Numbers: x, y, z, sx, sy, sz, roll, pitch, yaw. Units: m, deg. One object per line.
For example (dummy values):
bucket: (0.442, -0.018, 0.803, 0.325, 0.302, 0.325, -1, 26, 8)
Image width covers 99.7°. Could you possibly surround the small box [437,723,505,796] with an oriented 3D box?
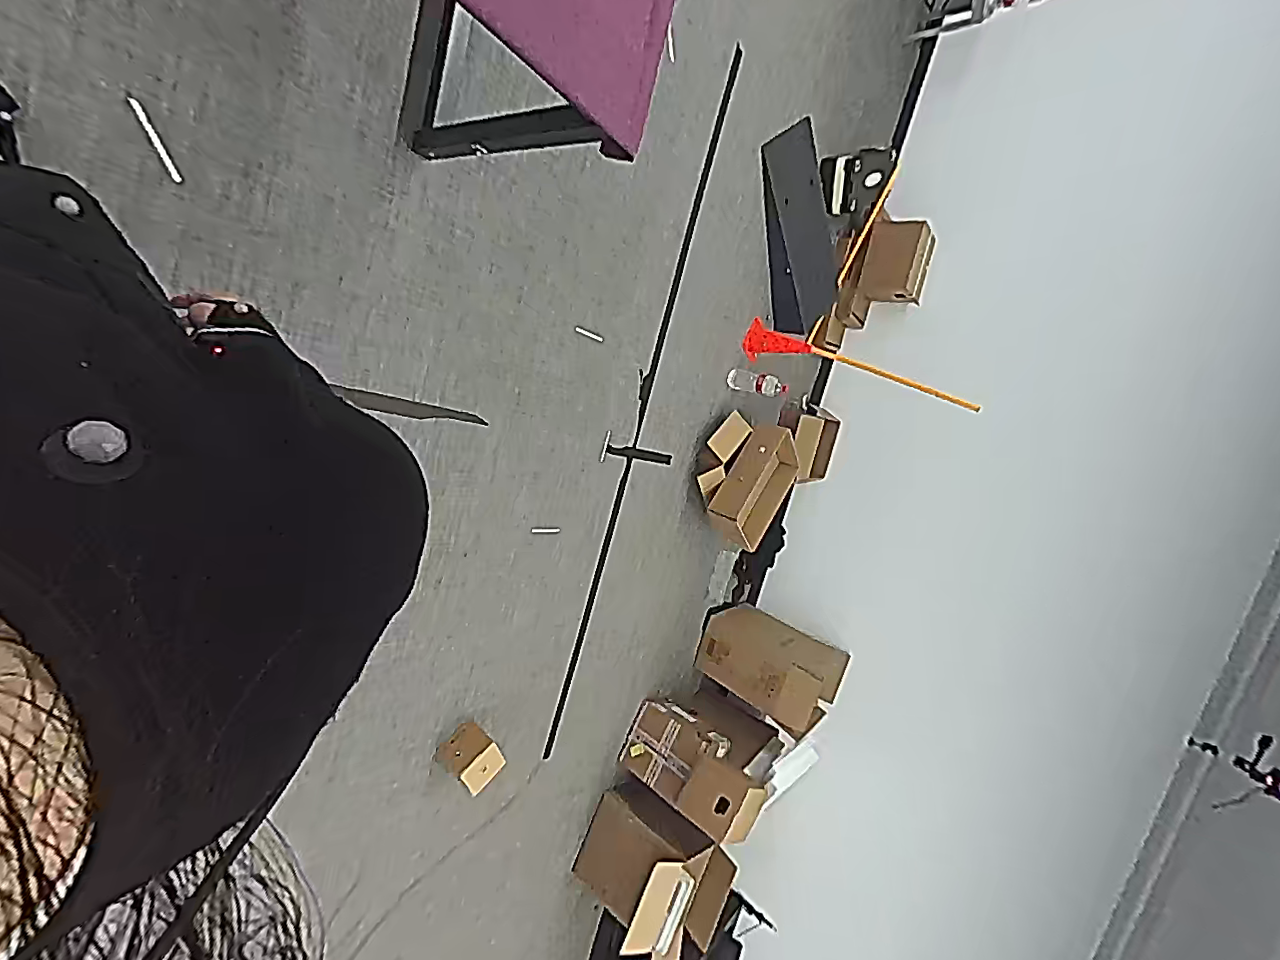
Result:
small box: (-0.674, 1.101, 2.149, 0.168, 0.176, 0.179, -39, 136, -34)
